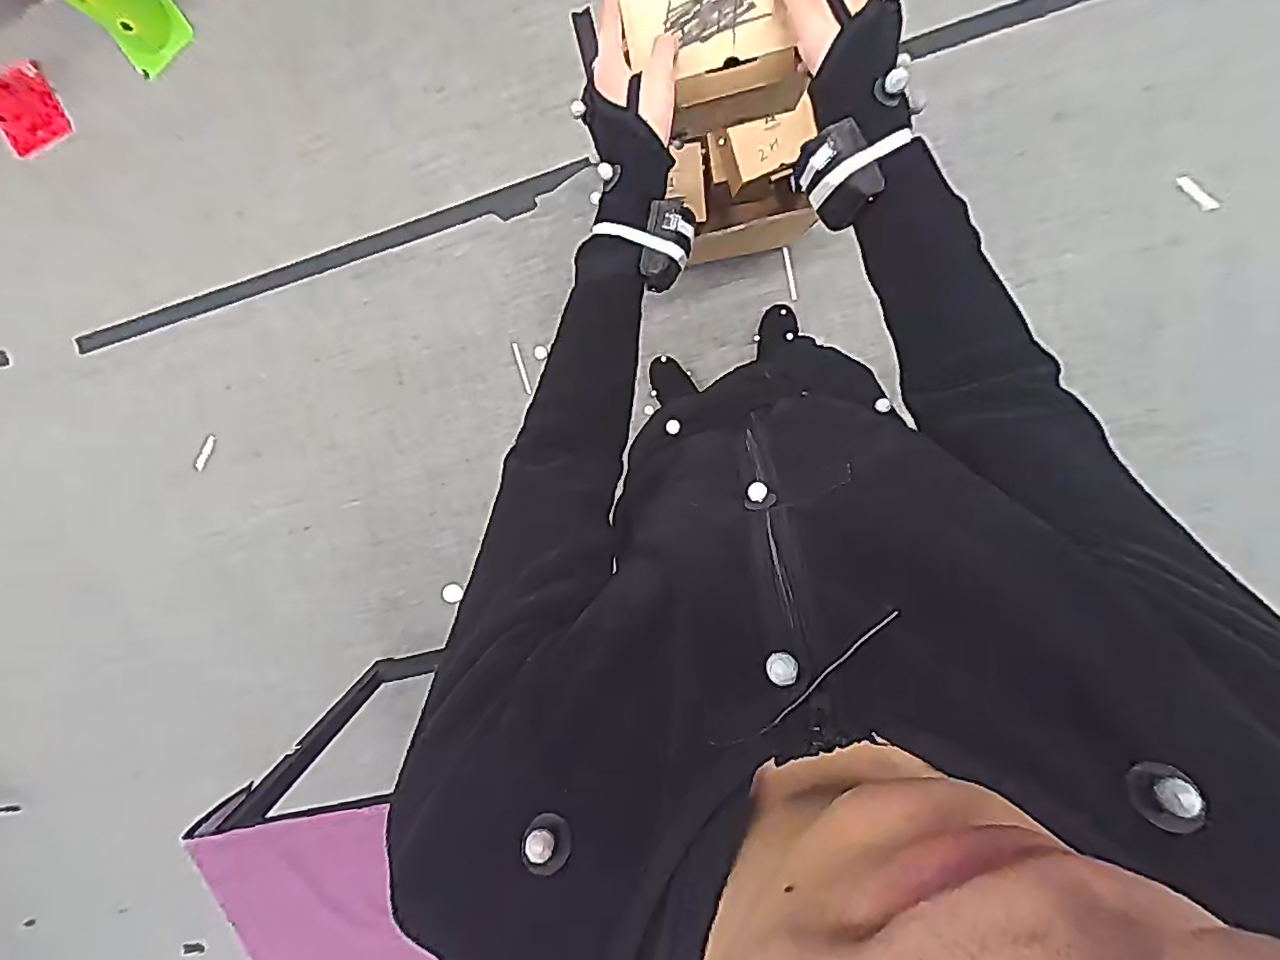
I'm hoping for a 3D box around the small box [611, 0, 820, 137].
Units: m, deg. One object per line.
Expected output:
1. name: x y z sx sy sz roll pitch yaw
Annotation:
1. small box: 0.062 -0.448 0.505 0.168 0.176 0.179 -10 106 9
